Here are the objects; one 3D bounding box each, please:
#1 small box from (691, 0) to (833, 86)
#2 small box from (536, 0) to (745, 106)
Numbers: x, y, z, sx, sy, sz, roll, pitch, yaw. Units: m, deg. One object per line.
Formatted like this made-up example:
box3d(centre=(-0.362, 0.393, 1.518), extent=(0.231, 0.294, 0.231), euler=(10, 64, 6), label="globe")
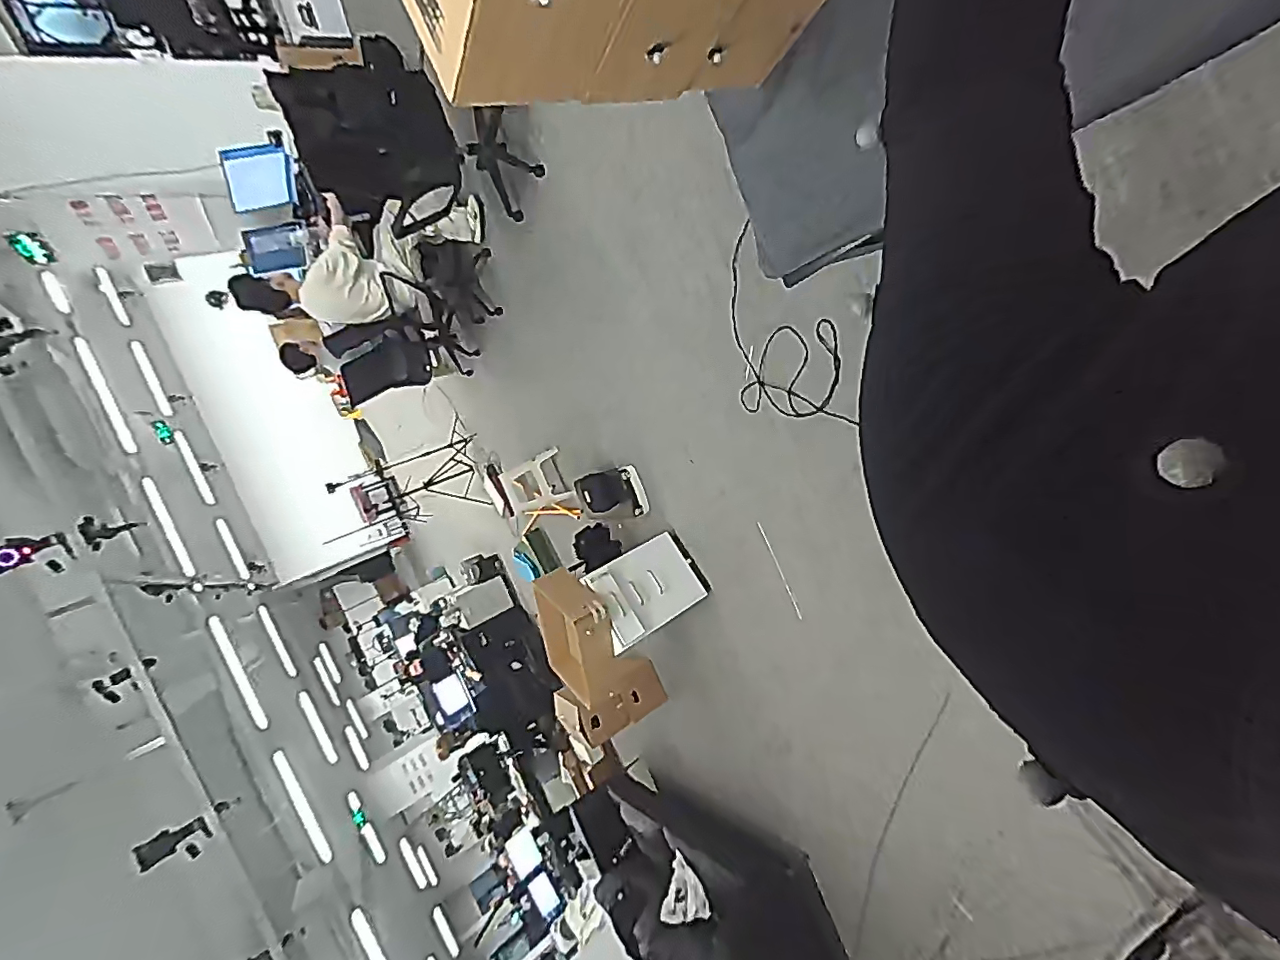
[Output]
box3d(centre=(0.123, -0.663, 0.720), extent=(0.168, 0.176, 0.179), euler=(-24, 92, 60), label="small box")
box3d(centre=(0.002, -0.586, 0.637), extent=(0.179, 0.176, 0.168), euler=(-22, 94, 60), label="small box")
